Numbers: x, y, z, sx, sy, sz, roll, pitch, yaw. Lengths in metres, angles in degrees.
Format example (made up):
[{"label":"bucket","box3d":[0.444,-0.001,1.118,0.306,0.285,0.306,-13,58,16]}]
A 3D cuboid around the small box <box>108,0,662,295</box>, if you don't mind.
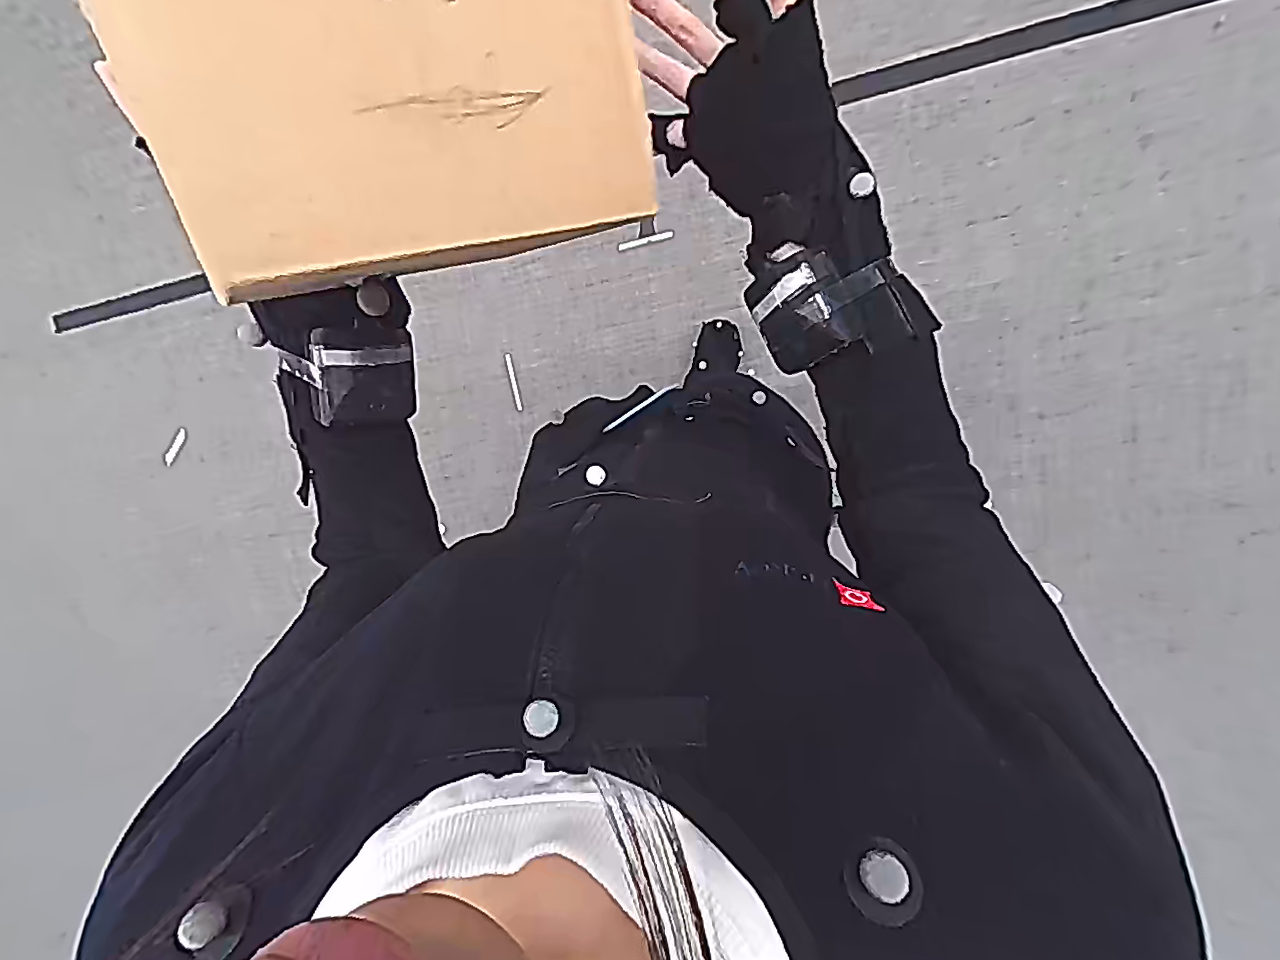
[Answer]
[{"label":"small box","box3d":[-0.116,-0.189,0.236,0.168,0.176,0.179,-25,117,-31]}]
